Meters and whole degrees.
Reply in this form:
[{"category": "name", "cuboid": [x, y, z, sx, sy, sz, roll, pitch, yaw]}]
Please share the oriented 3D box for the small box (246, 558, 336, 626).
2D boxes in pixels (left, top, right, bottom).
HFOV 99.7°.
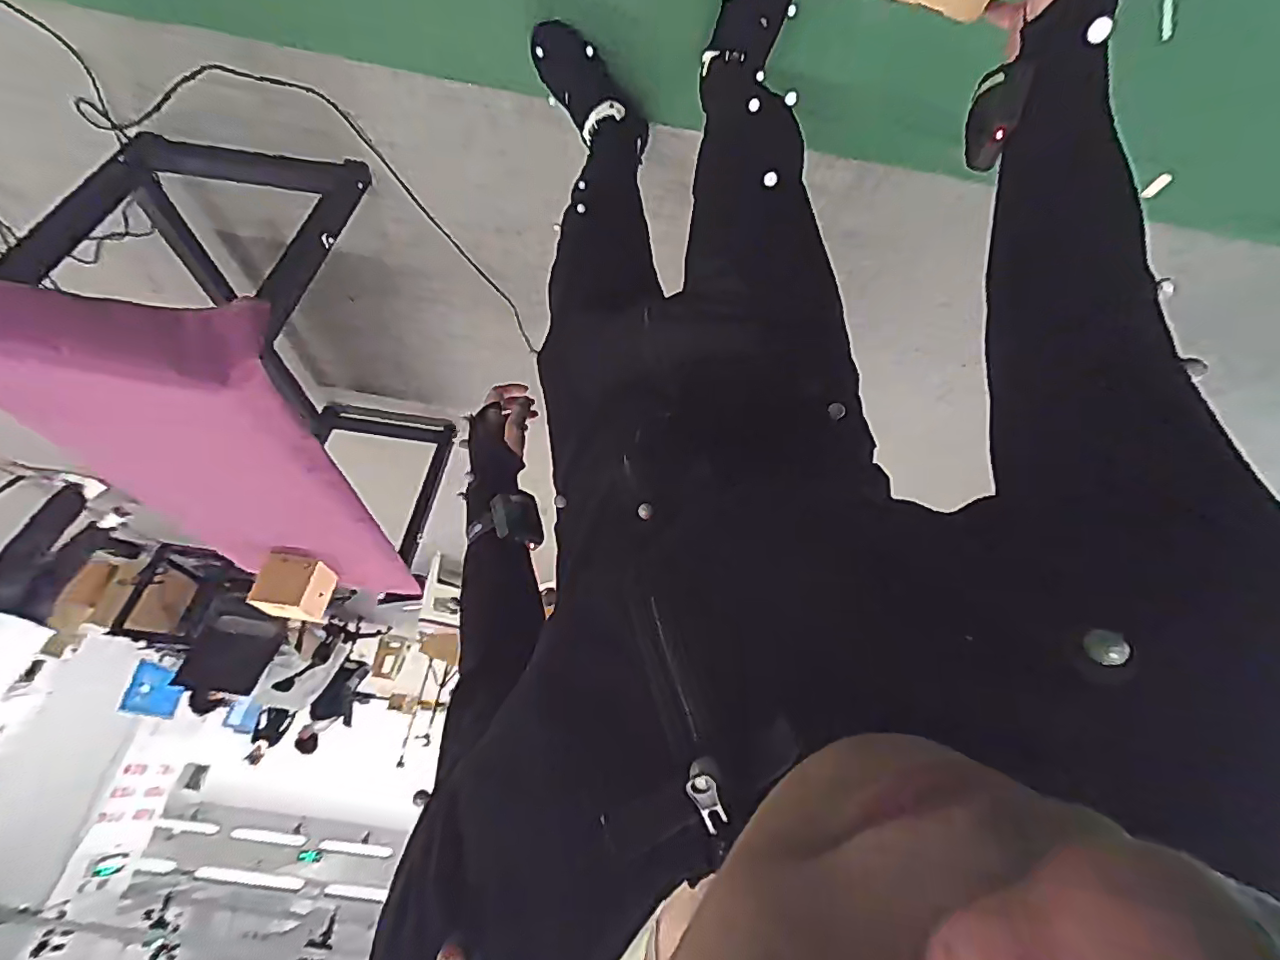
[{"category": "small box", "cuboid": [-1.157, 0.372, 1.805, 0.168, 0.176, 0.179, 10, 151, -3]}]
